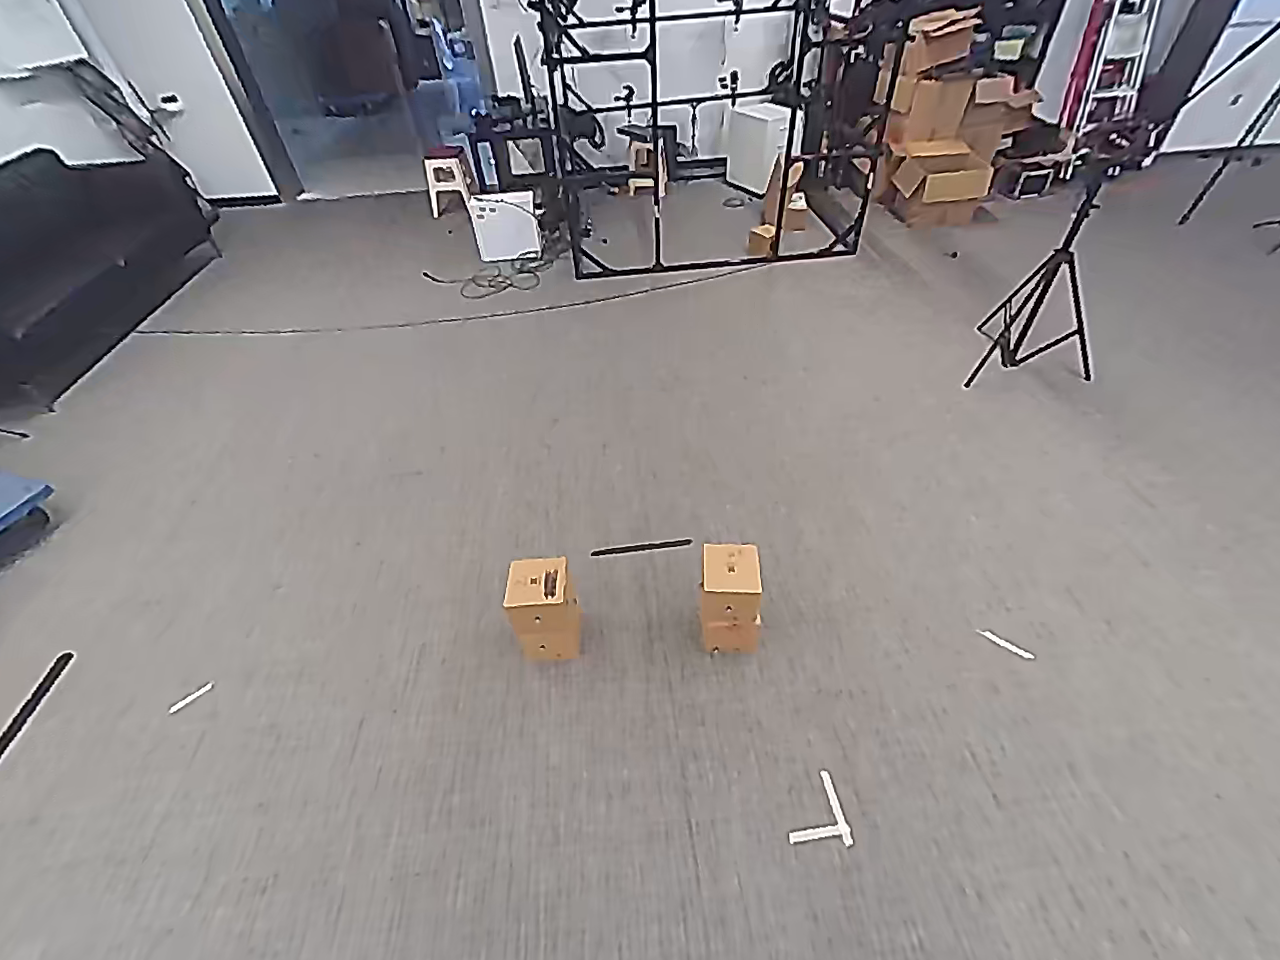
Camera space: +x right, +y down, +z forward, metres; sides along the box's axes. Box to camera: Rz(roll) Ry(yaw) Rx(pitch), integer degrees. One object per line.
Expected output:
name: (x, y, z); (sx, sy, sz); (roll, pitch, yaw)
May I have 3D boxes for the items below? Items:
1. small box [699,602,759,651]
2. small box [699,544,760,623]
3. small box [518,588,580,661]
small box: (0.283, 0.442, 1.750); (0.168, 0.176, 0.179); (-3, 44, 0)
small box: (0.268, 0.317, 1.643); (0.168, 0.176, 0.179); (1, 44, 4)
small box: (-0.289, 0.476, 1.760); (0.168, 0.176, 0.179); (-5, 44, 0)
